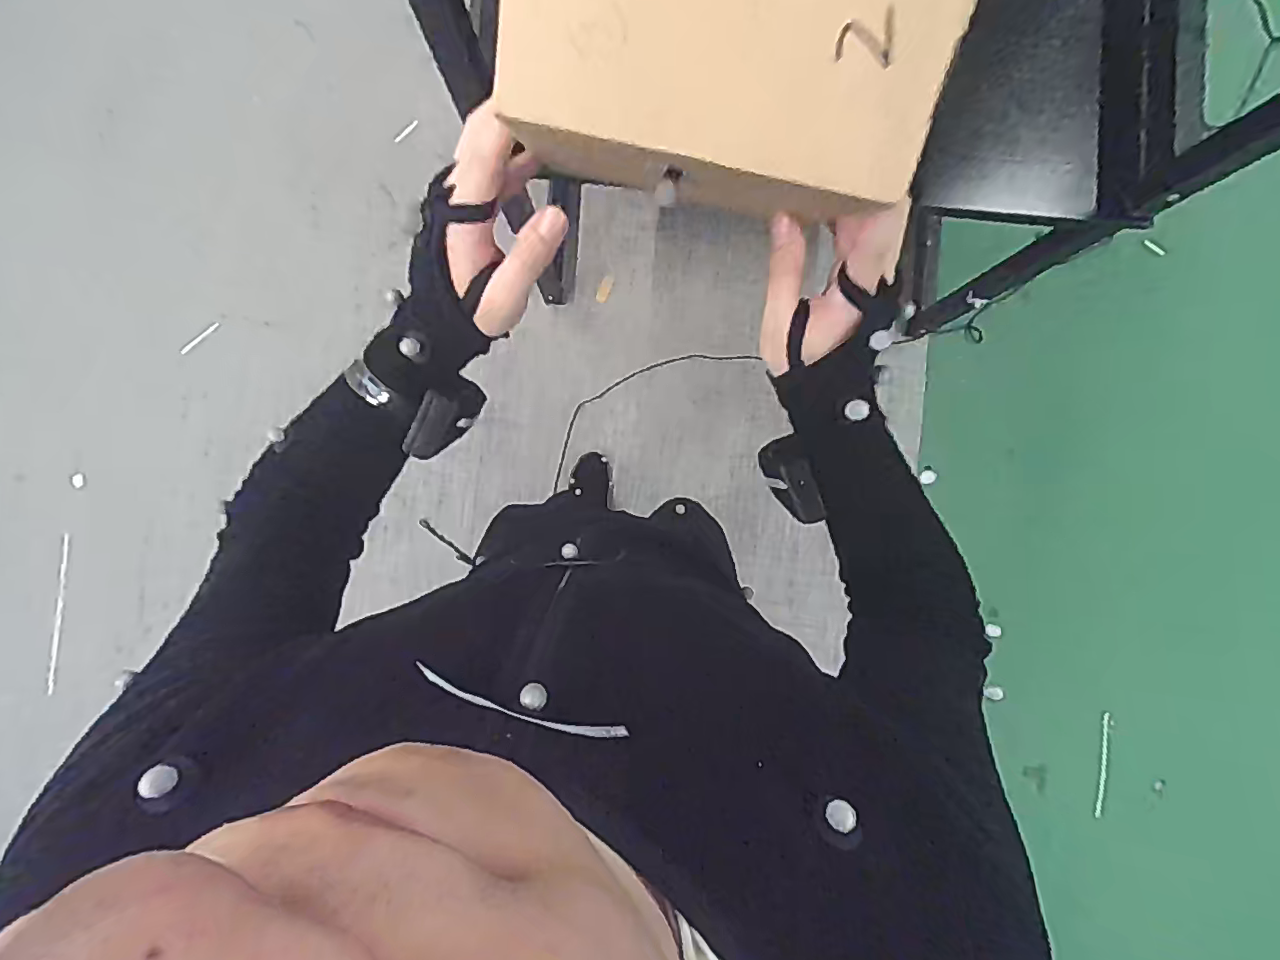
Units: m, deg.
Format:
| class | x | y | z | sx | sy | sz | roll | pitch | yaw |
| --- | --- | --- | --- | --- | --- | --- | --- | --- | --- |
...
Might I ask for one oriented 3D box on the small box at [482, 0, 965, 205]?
| class | x | y | z | sx | sy | sz | roll | pitch | yaw |
| --- | --- | --- | --- | --- | --- | --- | --- | --- | --- |
| small box | 0.040 | -0.239 | 0.260 | 0.179 | 0.176 | 0.168 | 11 | 115 | -4 |
